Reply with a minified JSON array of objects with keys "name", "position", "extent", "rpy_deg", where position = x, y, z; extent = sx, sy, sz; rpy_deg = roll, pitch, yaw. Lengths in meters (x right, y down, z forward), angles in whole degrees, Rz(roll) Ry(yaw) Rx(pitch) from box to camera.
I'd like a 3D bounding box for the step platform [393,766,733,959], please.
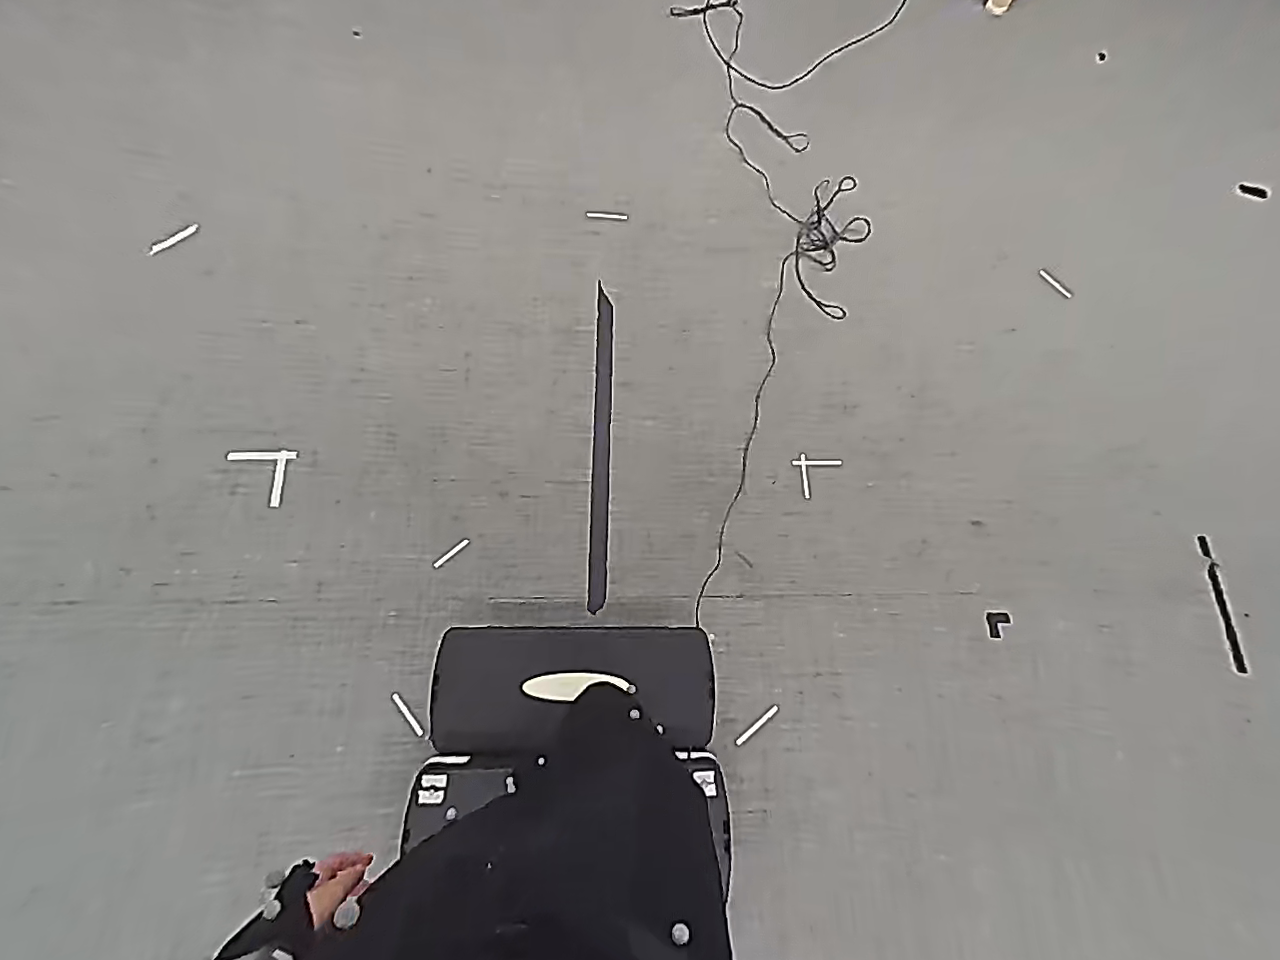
[{"name":"step platform","position":[-0.148,0.800,1.151],"extent":[0.684,0.204,0.286],"rpy_deg":[5,69,-2]}]
